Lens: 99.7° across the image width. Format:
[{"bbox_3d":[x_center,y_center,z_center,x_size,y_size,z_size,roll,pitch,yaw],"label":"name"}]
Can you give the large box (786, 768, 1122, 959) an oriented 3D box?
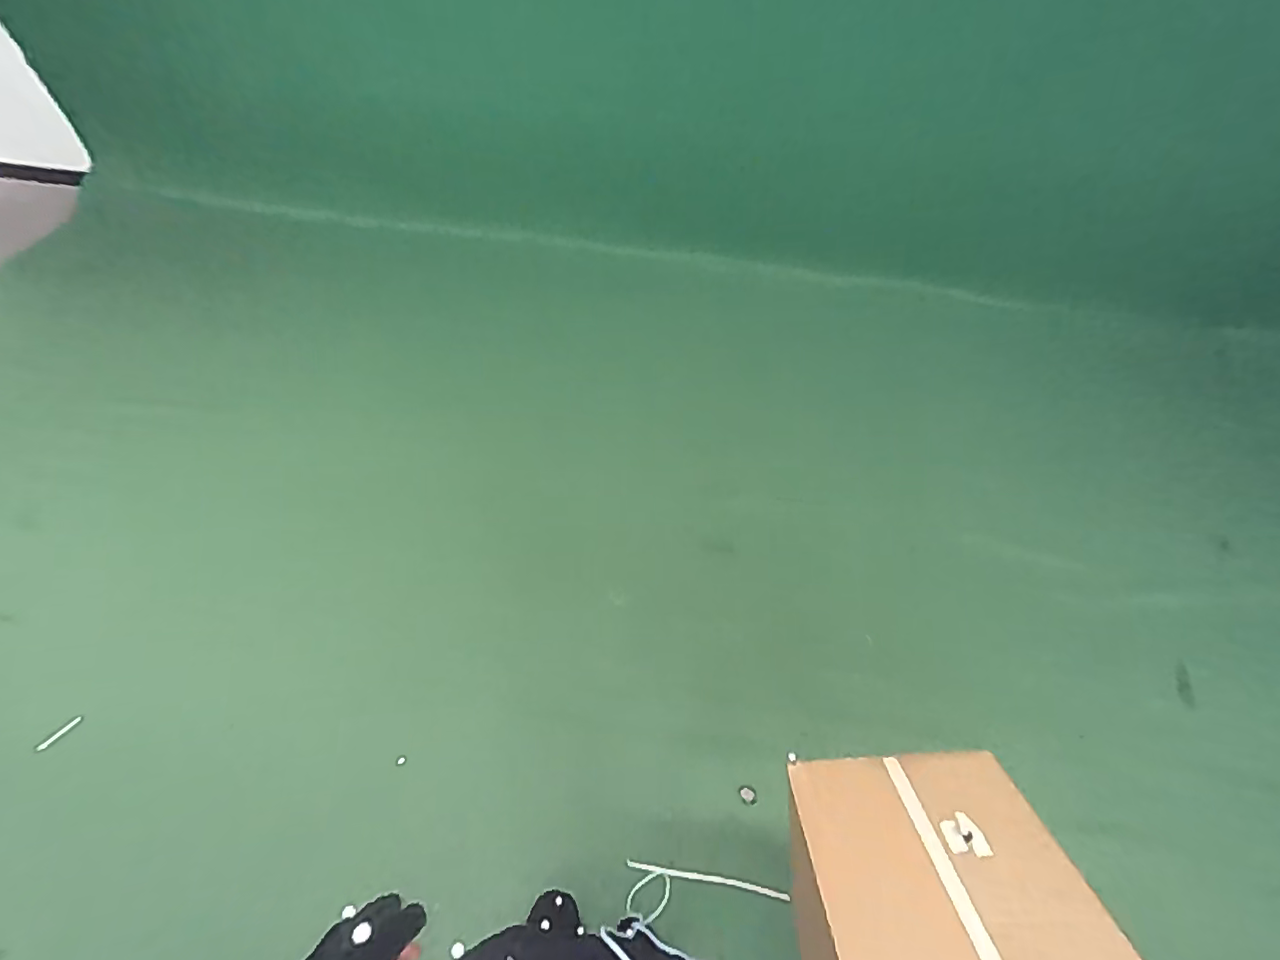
[{"bbox_3d":[0.394,0.662,0.702,0.320,0.320,0.408,-4,17,3],"label":"large box"}]
